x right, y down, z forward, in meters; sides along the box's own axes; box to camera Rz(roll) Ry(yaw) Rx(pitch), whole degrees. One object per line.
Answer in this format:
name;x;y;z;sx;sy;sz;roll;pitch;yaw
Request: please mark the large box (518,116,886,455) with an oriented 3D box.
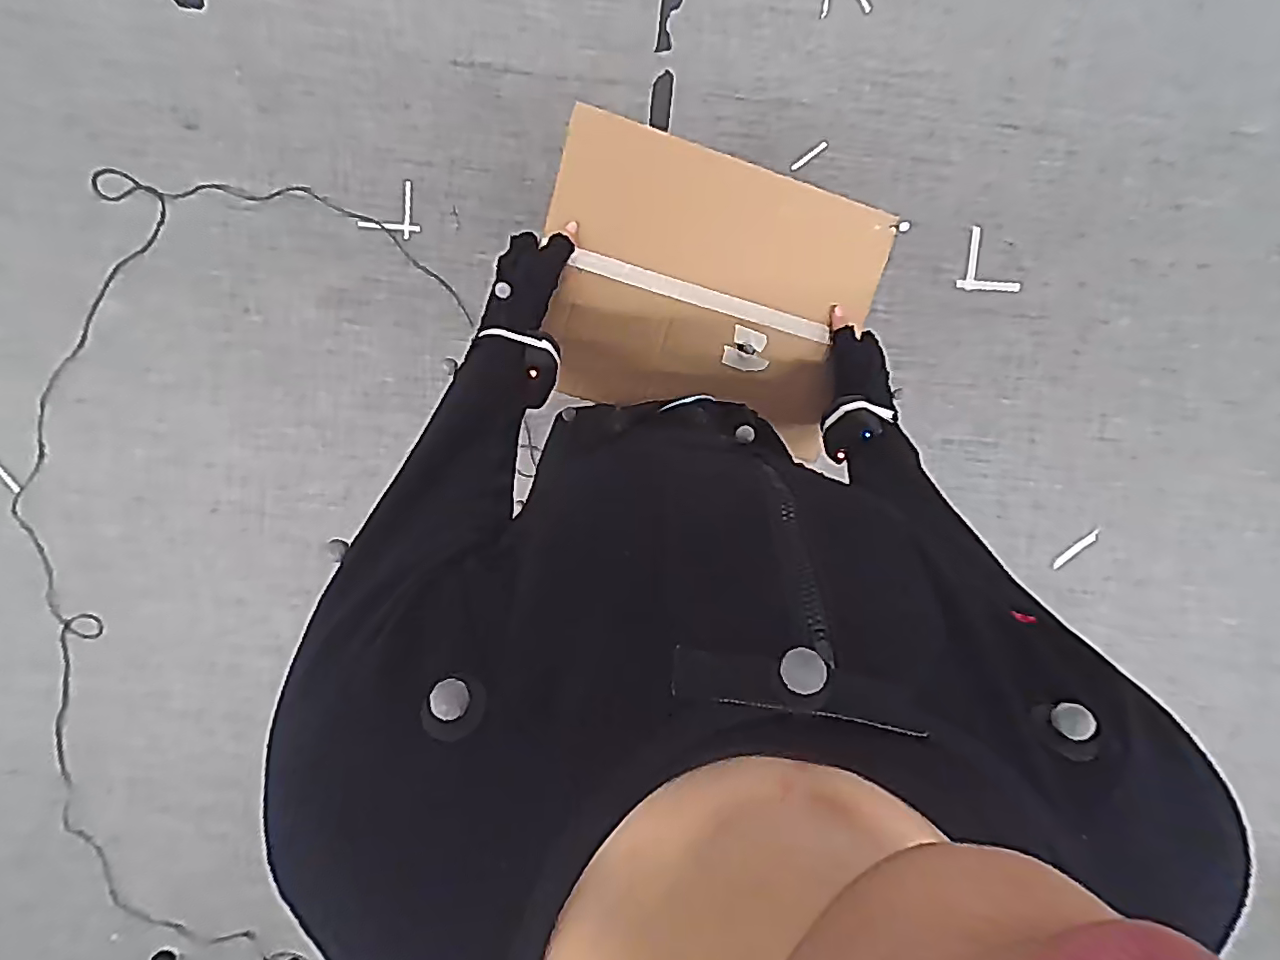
large box;0.059;-0.253;0.807;0.408;0.320;0.320;15;102;-9
